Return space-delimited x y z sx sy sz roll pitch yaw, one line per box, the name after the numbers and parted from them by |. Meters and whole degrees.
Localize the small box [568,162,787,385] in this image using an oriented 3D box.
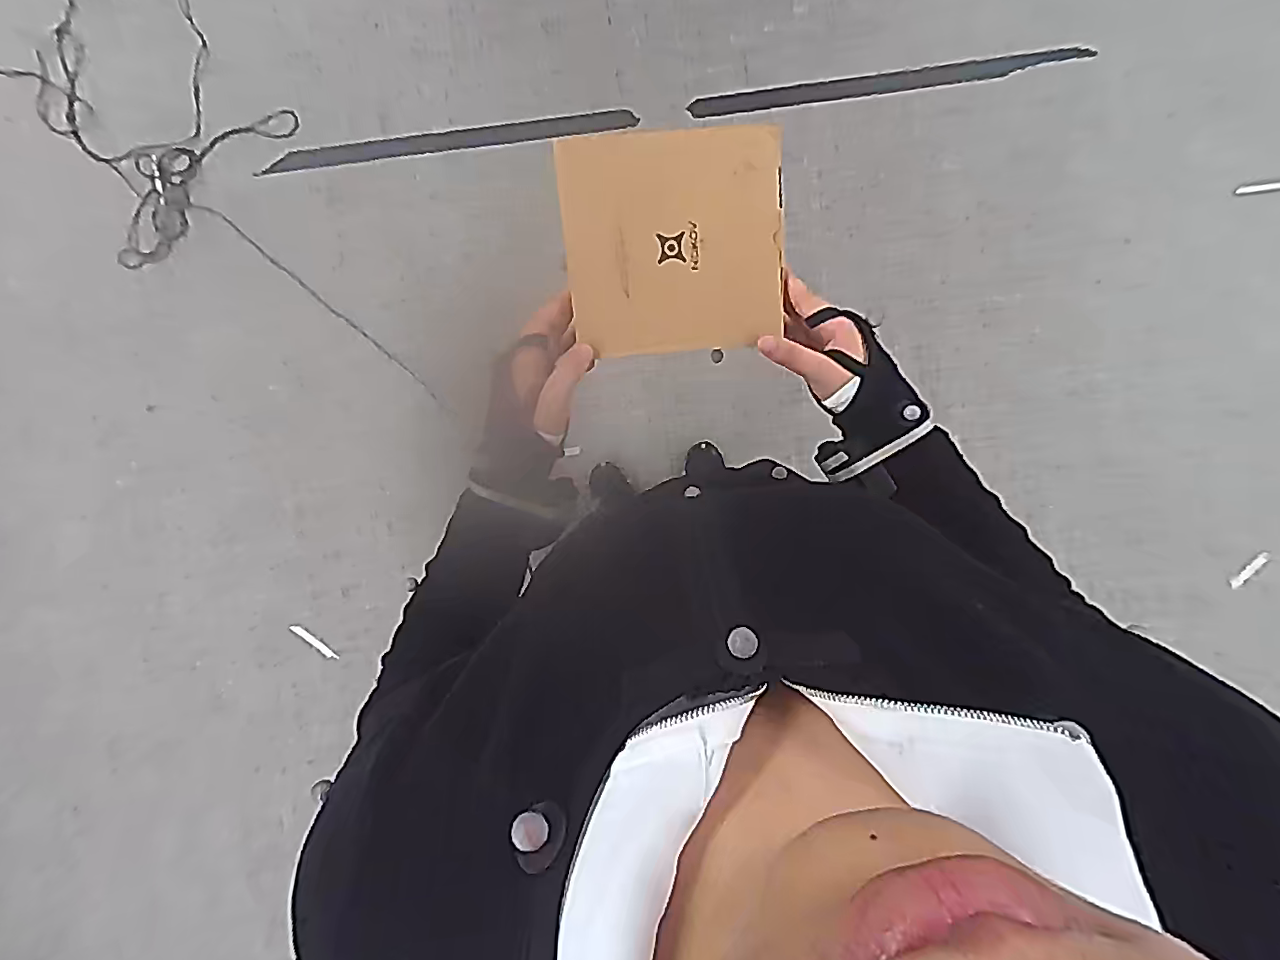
0.031 -0.189 0.528 0.179 0.176 0.168 -6 104 -1 | small box
